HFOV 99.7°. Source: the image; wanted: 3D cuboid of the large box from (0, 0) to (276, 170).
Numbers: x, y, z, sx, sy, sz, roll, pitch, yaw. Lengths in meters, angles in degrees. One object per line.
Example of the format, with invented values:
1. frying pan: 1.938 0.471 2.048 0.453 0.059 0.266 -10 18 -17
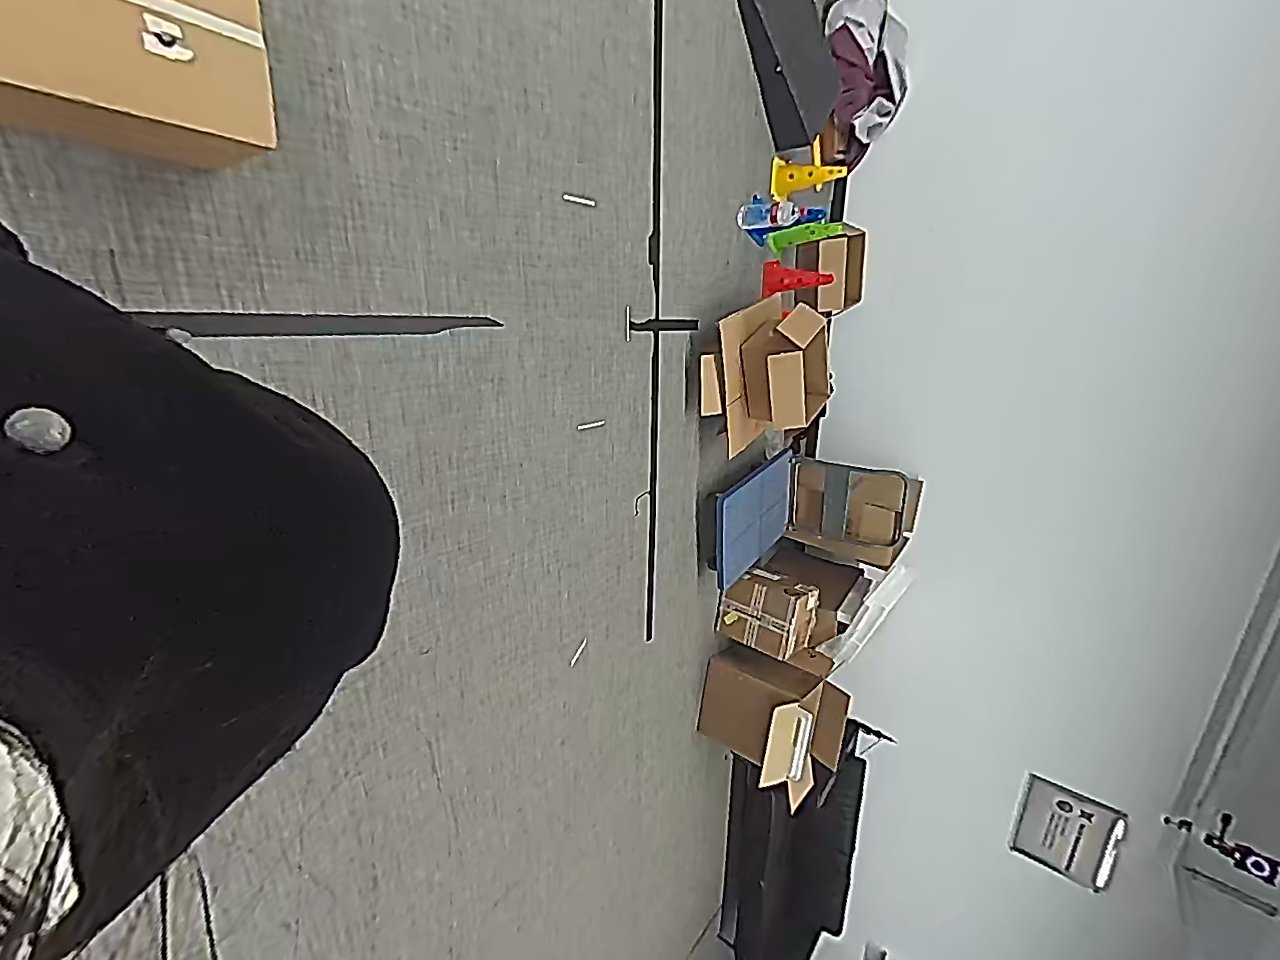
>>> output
1. large box: -0.870 -0.717 0.838 0.408 0.320 0.320 -17 115 -51
